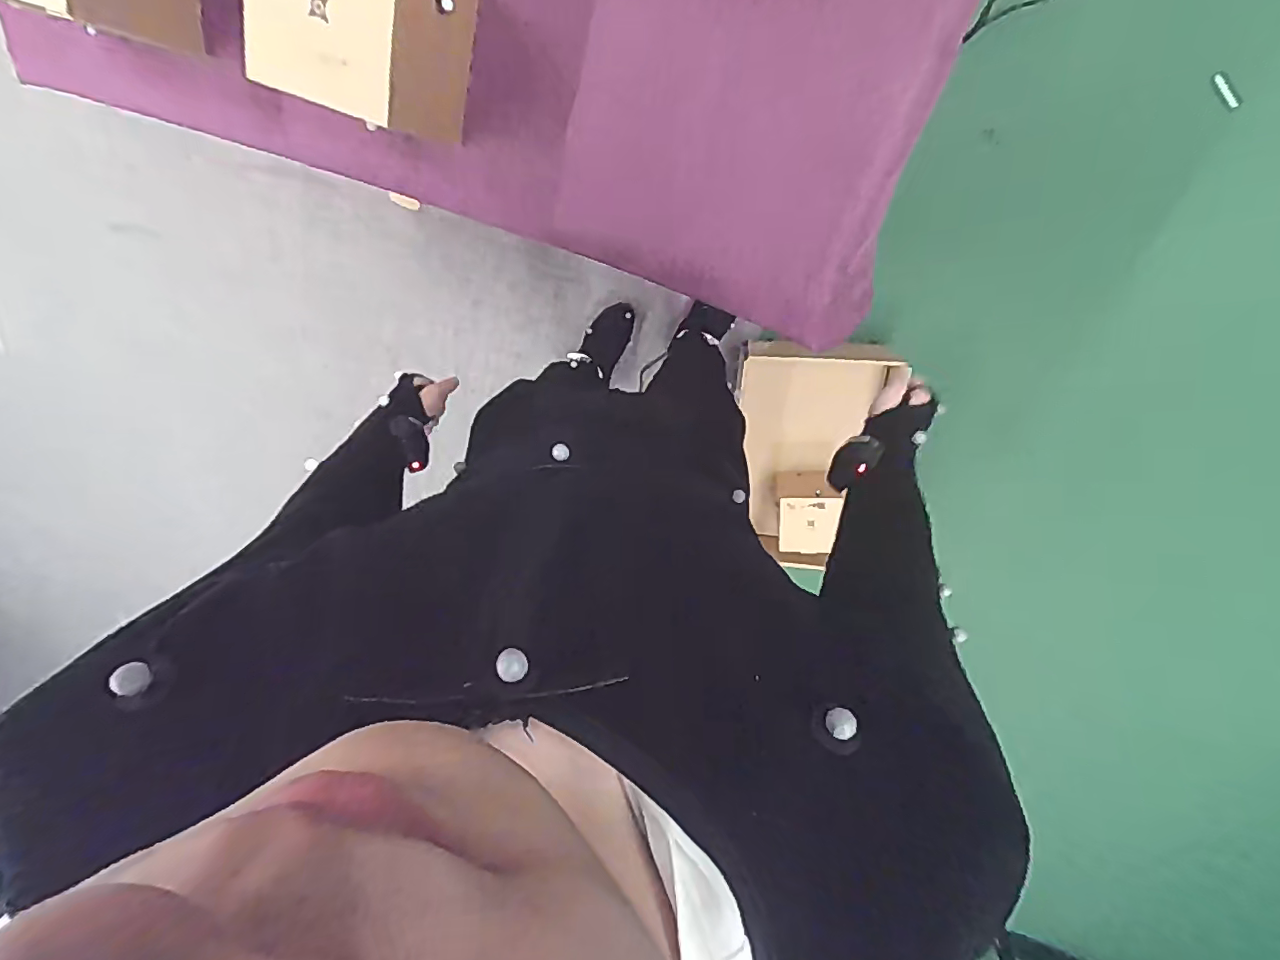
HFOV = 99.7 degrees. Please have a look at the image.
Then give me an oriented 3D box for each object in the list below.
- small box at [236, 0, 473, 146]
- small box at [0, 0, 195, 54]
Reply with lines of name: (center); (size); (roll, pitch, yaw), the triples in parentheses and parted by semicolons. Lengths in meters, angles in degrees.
small box: (-0.305, -0.501, 0.602); (0.168, 0.176, 0.179); (21, 118, 1)
small box: (-0.648, -0.619, 0.607); (0.168, 0.176, 0.179); (18, 117, 1)
